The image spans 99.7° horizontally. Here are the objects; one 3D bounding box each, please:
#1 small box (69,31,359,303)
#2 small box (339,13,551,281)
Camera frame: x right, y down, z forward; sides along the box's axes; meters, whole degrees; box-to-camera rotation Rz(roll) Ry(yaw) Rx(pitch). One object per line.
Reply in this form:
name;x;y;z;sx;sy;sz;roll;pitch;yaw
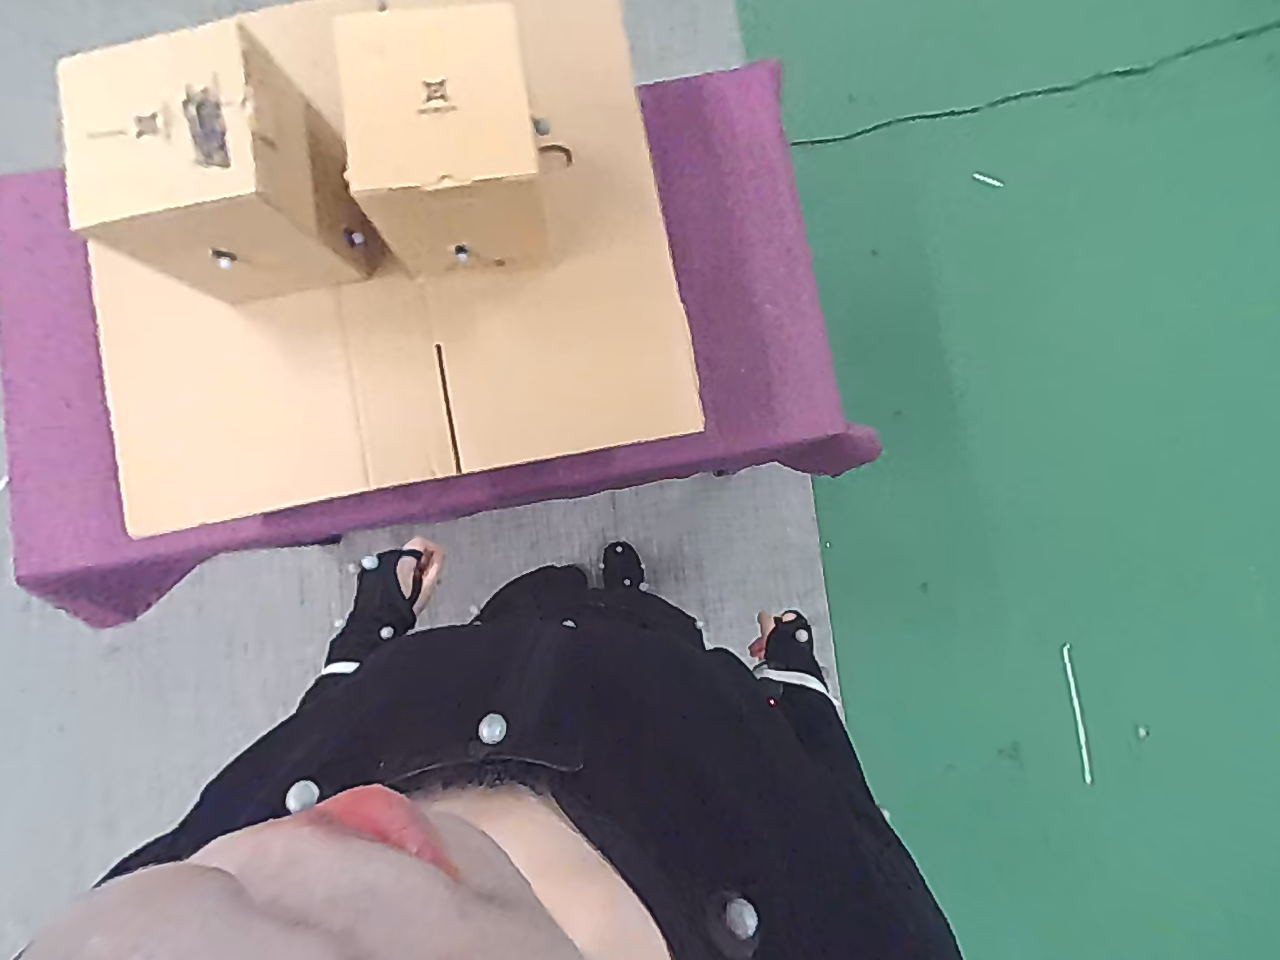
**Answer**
small box;-0.419;-0.305;0.565;0.179;0.176;0.168;-10;85;4
small box;-0.193;-0.340;0.578;0.168;0.176;0.179;-9;86;-5
